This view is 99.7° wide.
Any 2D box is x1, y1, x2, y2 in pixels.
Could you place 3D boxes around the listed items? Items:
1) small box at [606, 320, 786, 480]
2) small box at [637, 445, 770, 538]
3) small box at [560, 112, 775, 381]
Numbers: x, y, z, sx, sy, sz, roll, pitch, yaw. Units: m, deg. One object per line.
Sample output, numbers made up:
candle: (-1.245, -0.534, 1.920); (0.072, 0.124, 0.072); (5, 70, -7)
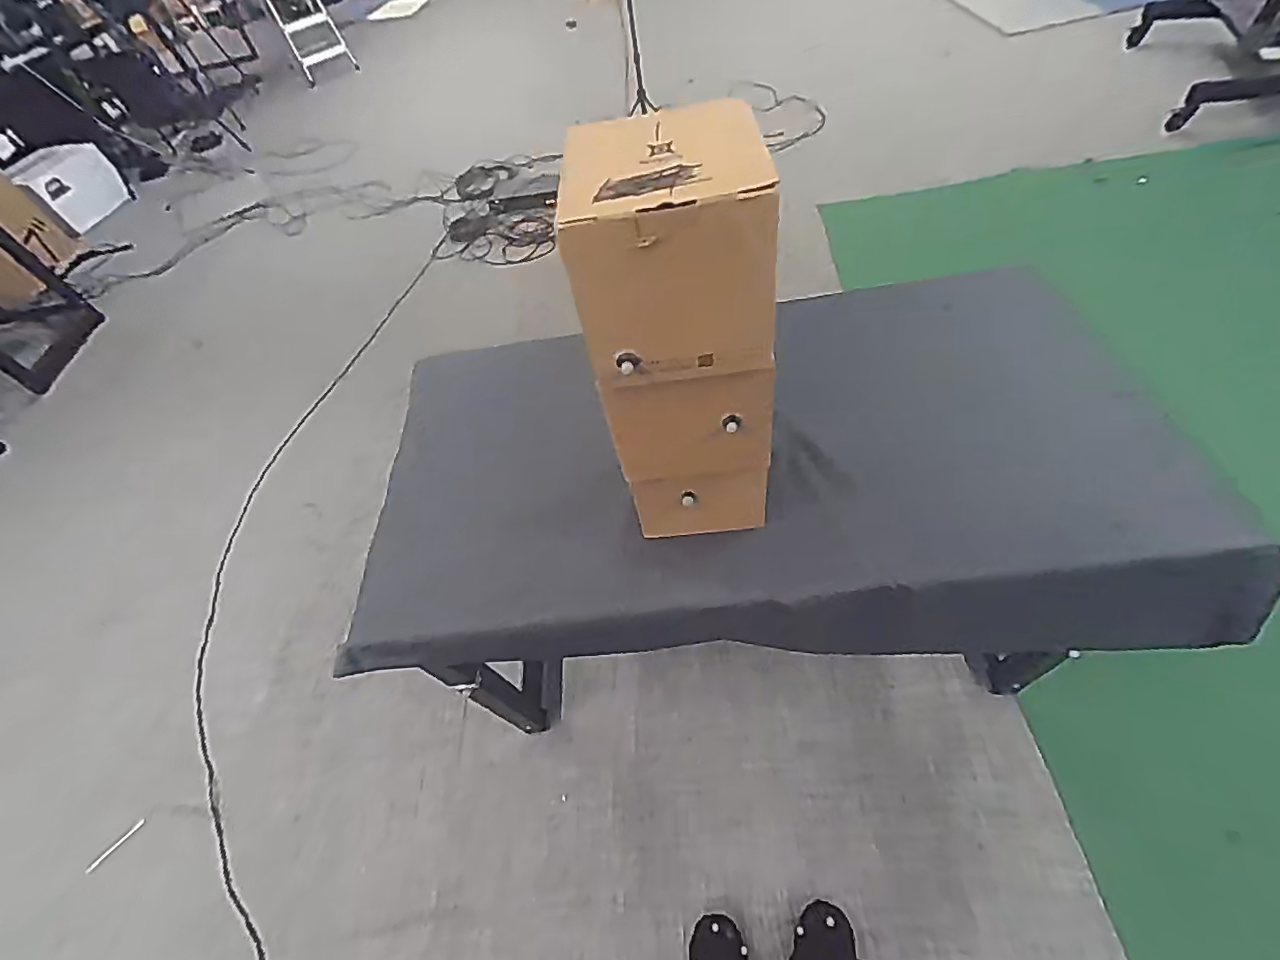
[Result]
small box: (0.057, -0.120, 0.626); (0.179, 0.176, 0.168); (-9, 53, 4)
small box: (0.085, -0.030, 0.782); (0.179, 0.176, 0.168); (-8, 52, 4)
small box: (0.031, -0.207, 0.509); (0.168, 0.176, 0.179); (-6, 52, 6)
